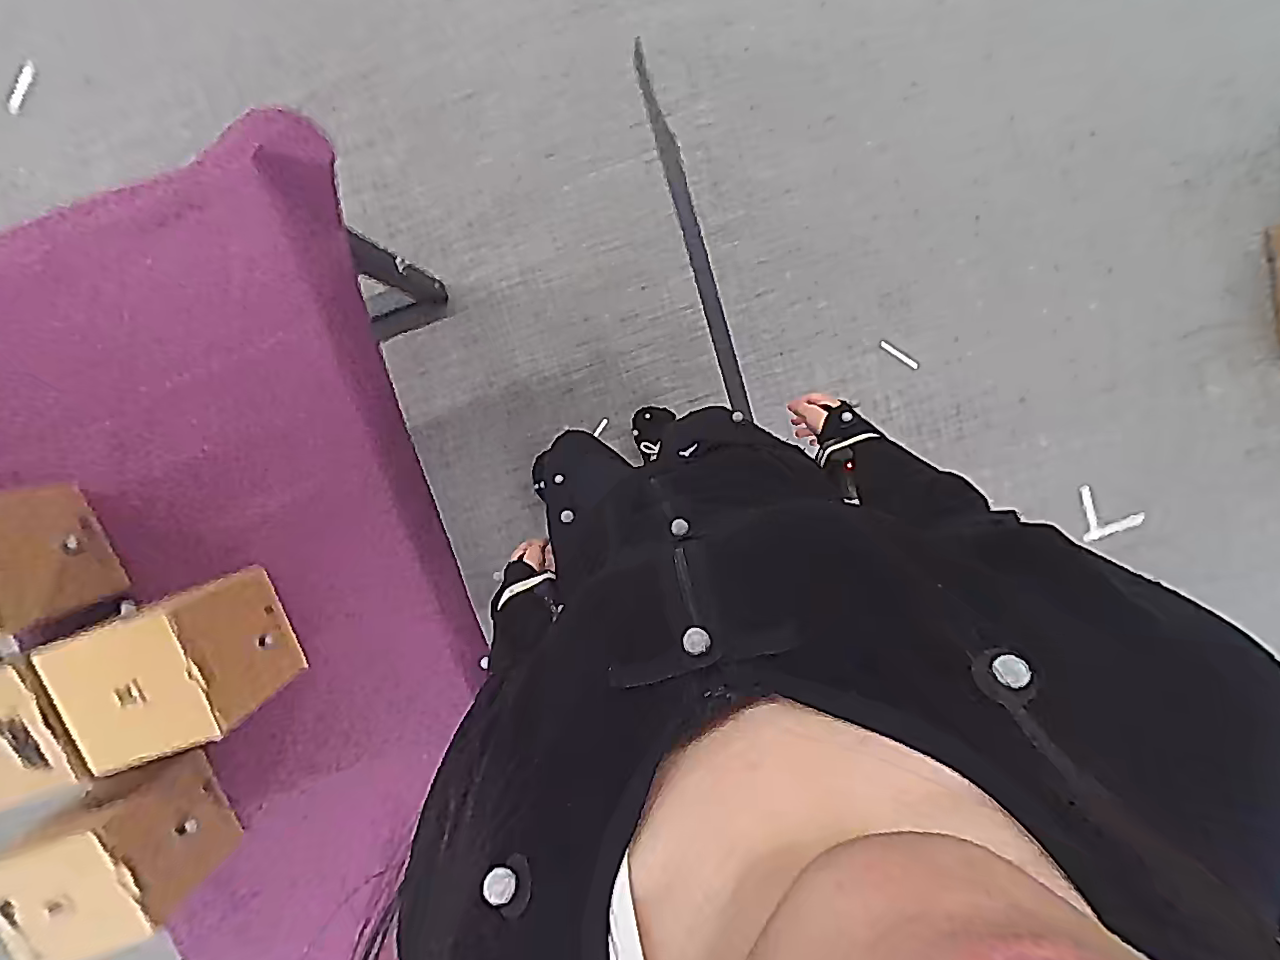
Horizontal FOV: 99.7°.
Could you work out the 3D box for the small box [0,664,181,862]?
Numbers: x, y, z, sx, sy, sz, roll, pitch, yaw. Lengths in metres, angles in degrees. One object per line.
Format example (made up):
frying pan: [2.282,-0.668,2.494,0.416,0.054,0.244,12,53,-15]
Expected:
small box: [-0.767,0.366,0.722,0.179,0.176,0.168,-9,98,-2]
